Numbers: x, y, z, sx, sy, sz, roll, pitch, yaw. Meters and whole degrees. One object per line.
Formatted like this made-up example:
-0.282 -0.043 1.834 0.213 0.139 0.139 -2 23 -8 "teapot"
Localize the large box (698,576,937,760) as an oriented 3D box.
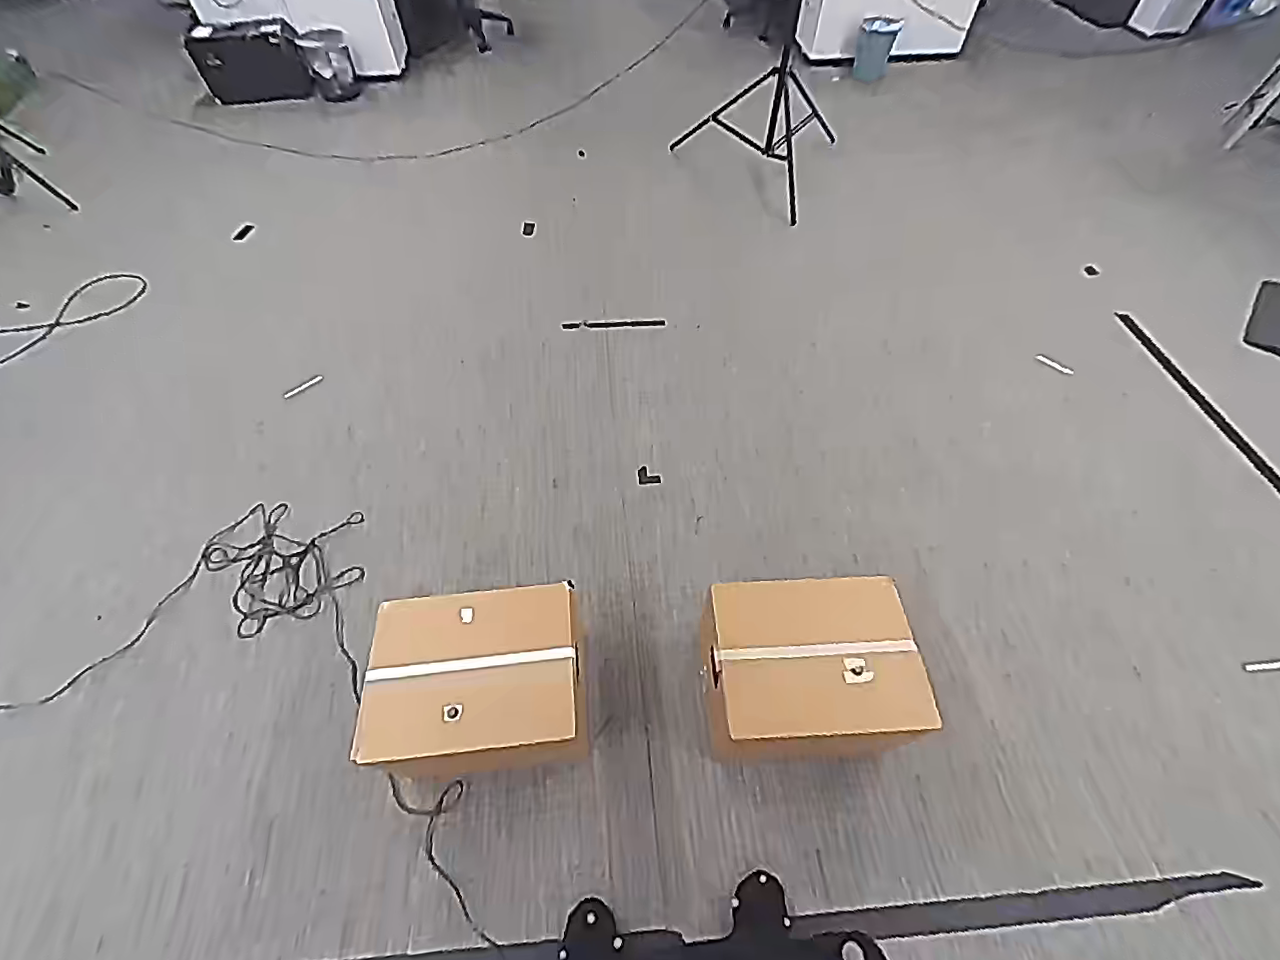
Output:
0.360 0.432 1.226 0.408 0.320 0.320 -1 56 -2 "large box"
